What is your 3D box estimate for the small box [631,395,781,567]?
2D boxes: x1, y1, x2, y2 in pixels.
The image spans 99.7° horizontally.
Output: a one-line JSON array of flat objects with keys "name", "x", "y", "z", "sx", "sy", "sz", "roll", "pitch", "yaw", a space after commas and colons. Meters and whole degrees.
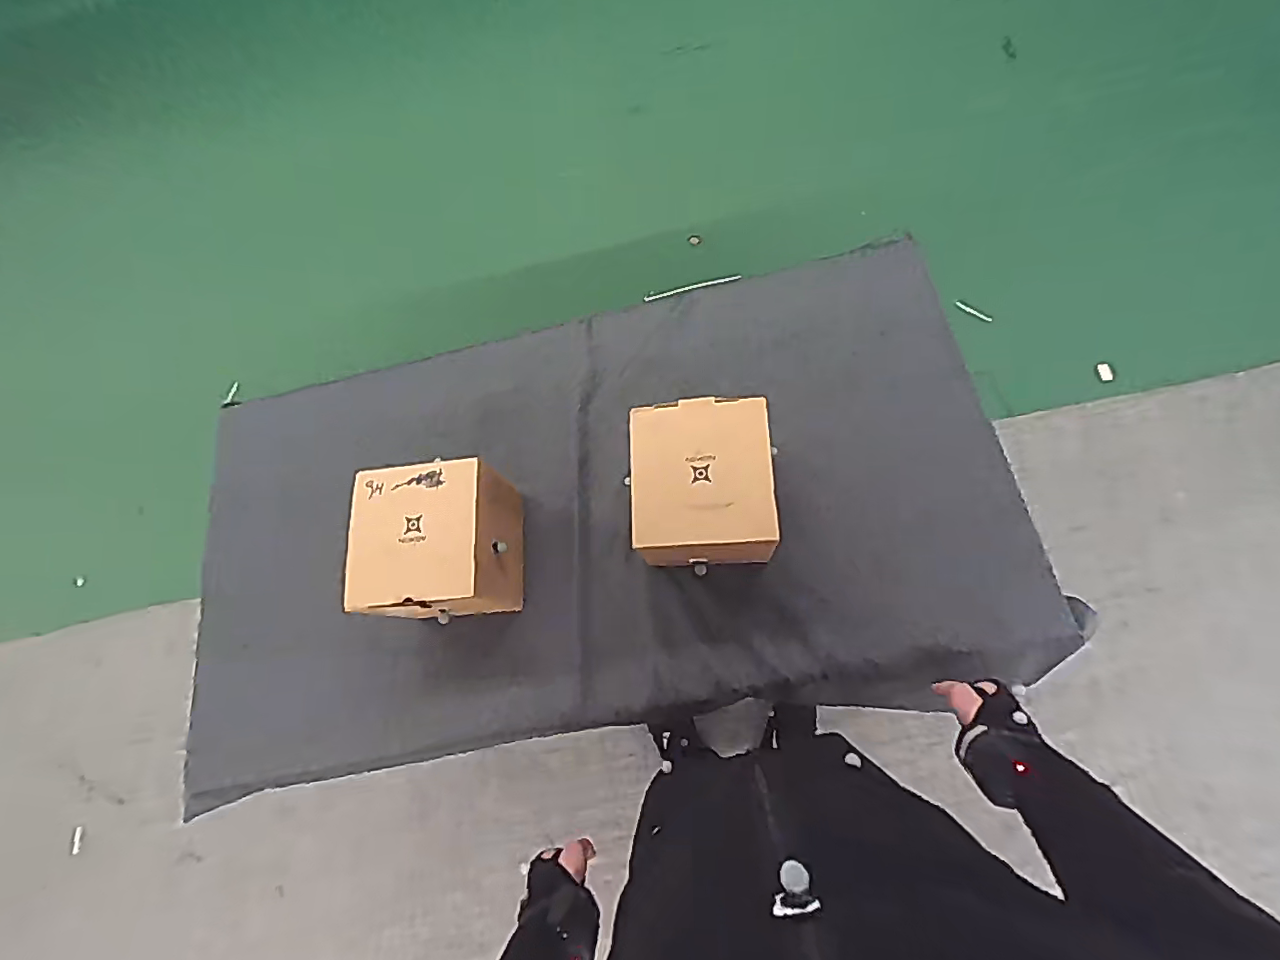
[{"name": "small box", "x": 0.086, "y": 0.011, "z": 0.689, "sx": 0.168, "sy": 0.176, "sz": 0.179, "roll": -3, "pitch": 73, "yaw": 10}]

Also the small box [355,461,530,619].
[{"name": "small box", "x": -0.256, "y": 0.092, "z": 0.737, "sx": 0.168, "sy": 0.176, "sz": 0.179, "roll": -9, "pitch": 71, "yaw": 7}]
